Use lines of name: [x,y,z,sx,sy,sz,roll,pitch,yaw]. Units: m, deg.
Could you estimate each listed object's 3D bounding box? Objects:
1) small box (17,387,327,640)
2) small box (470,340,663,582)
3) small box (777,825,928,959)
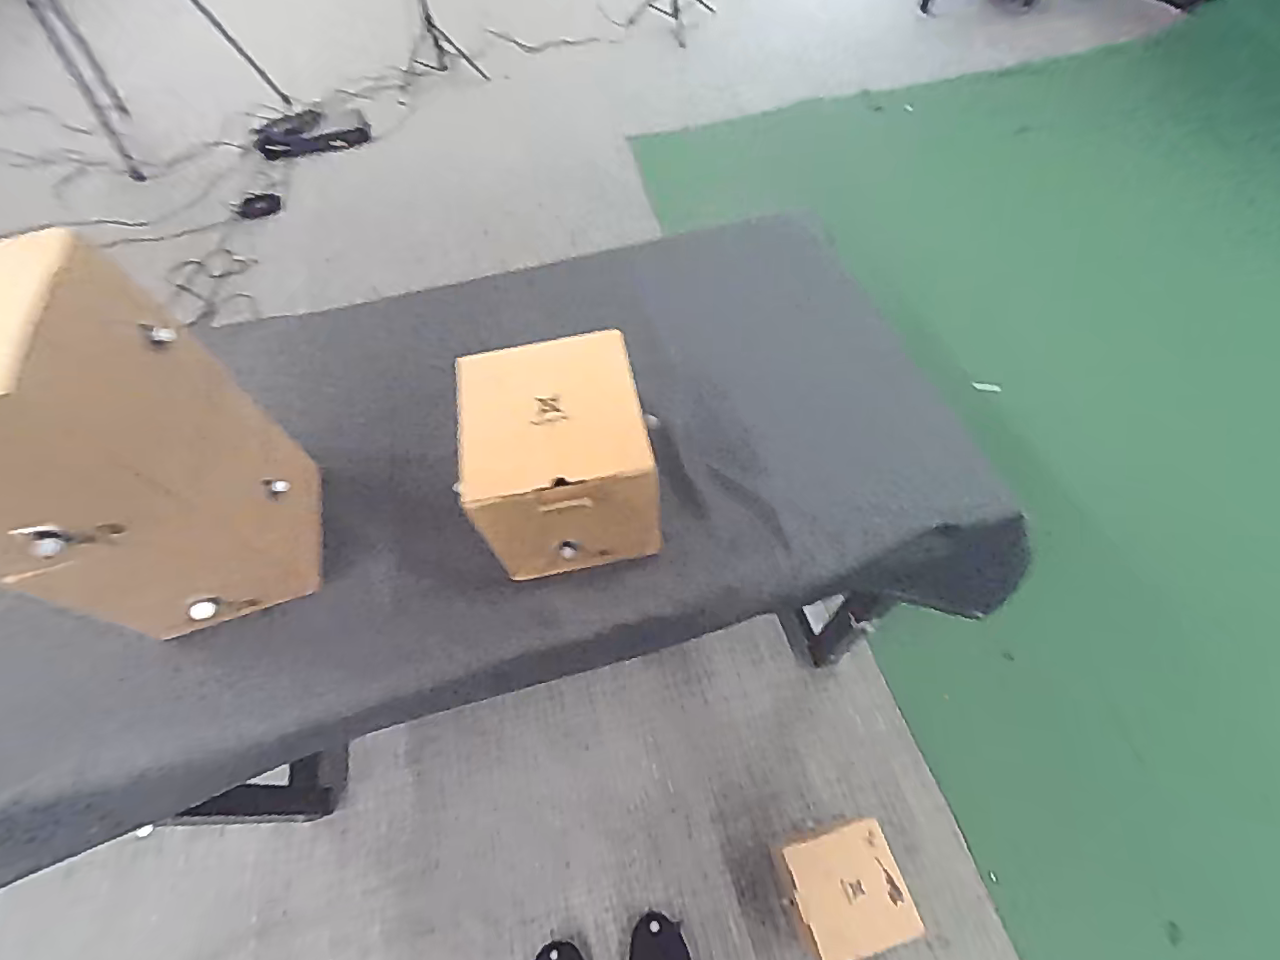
small box: [-0.449,0.039,0.558,0.168,0.176,0.179,-18,58,-7]
small box: [-0.074,-0.016,0.571,0.168,0.176,0.179,-11,57,-4]
small box: [0.349,0.720,0.934,0.179,0.176,0.168,-15,56,-6]
